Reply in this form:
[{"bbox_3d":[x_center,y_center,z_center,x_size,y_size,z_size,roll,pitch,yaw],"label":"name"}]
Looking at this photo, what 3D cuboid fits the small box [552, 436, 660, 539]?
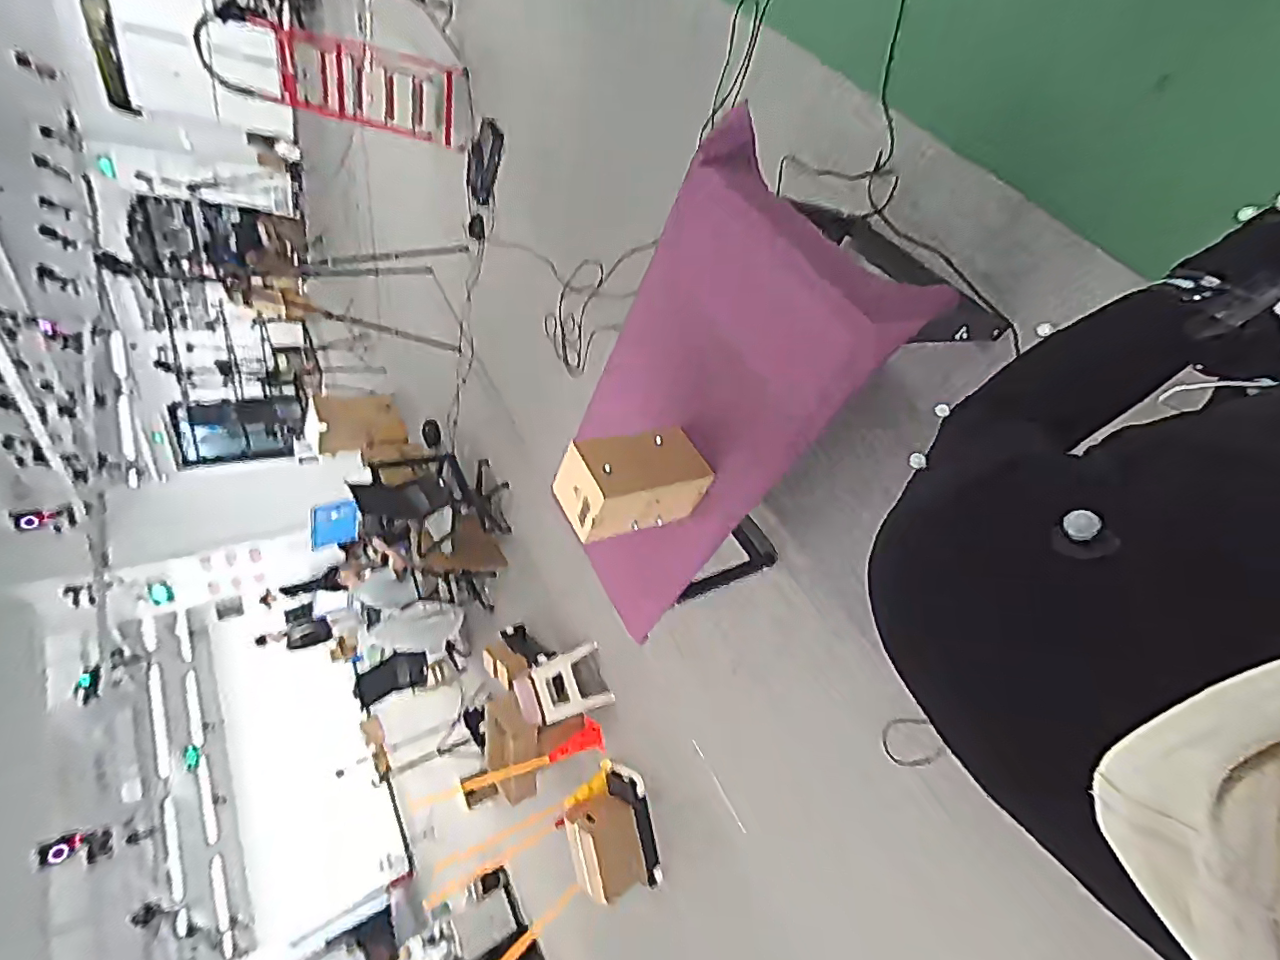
[{"bbox_3d":[-0.079,0.010,1.278,0.179,0.176,0.168,58,138,27],"label":"small box"}]
